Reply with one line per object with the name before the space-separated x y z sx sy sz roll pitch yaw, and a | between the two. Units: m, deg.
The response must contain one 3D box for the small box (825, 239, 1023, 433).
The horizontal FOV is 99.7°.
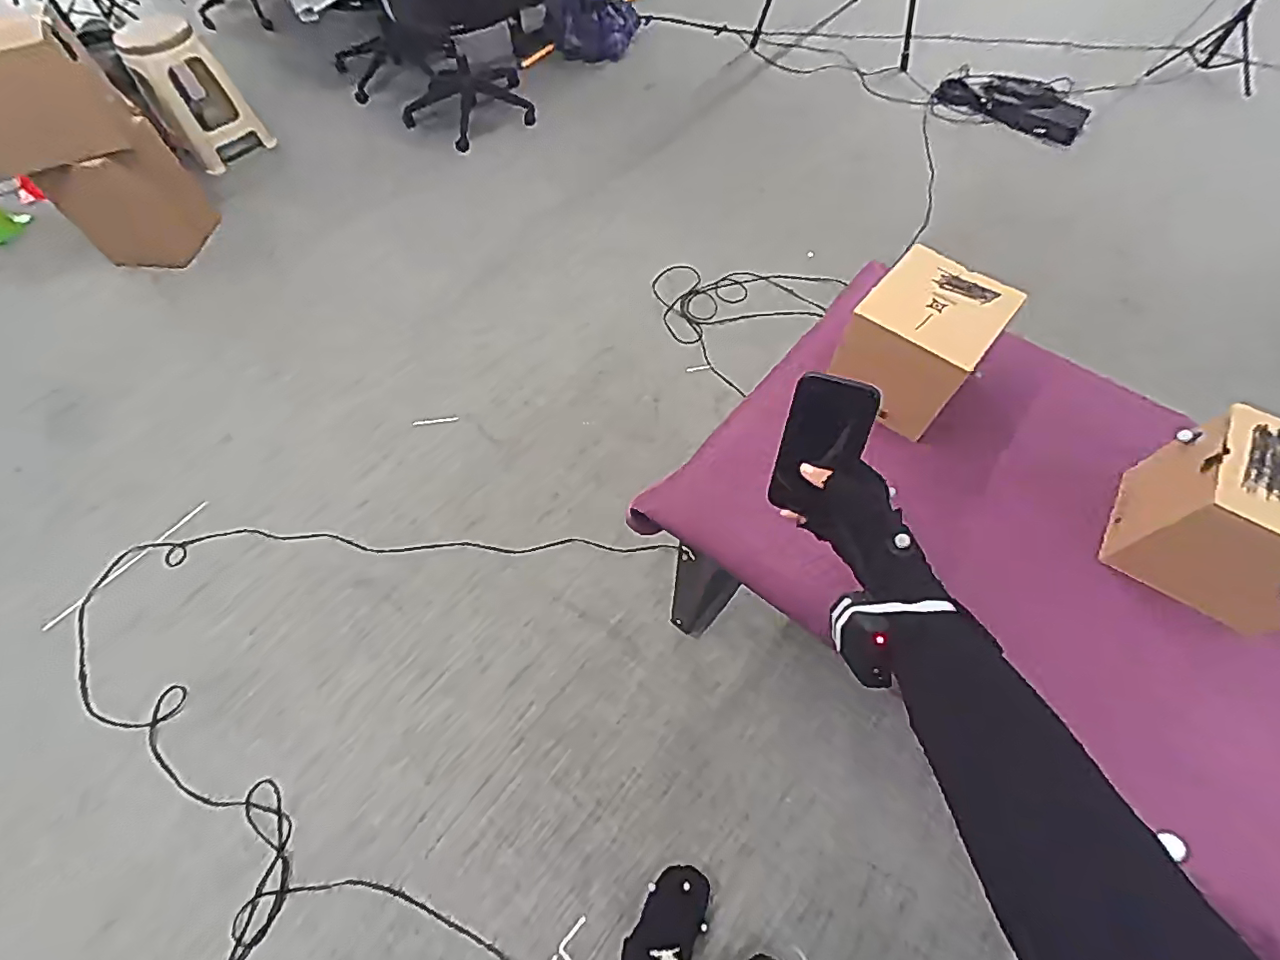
small box | 0.398 -0.204 0.789 0.168 0.176 0.179 38 70 19
